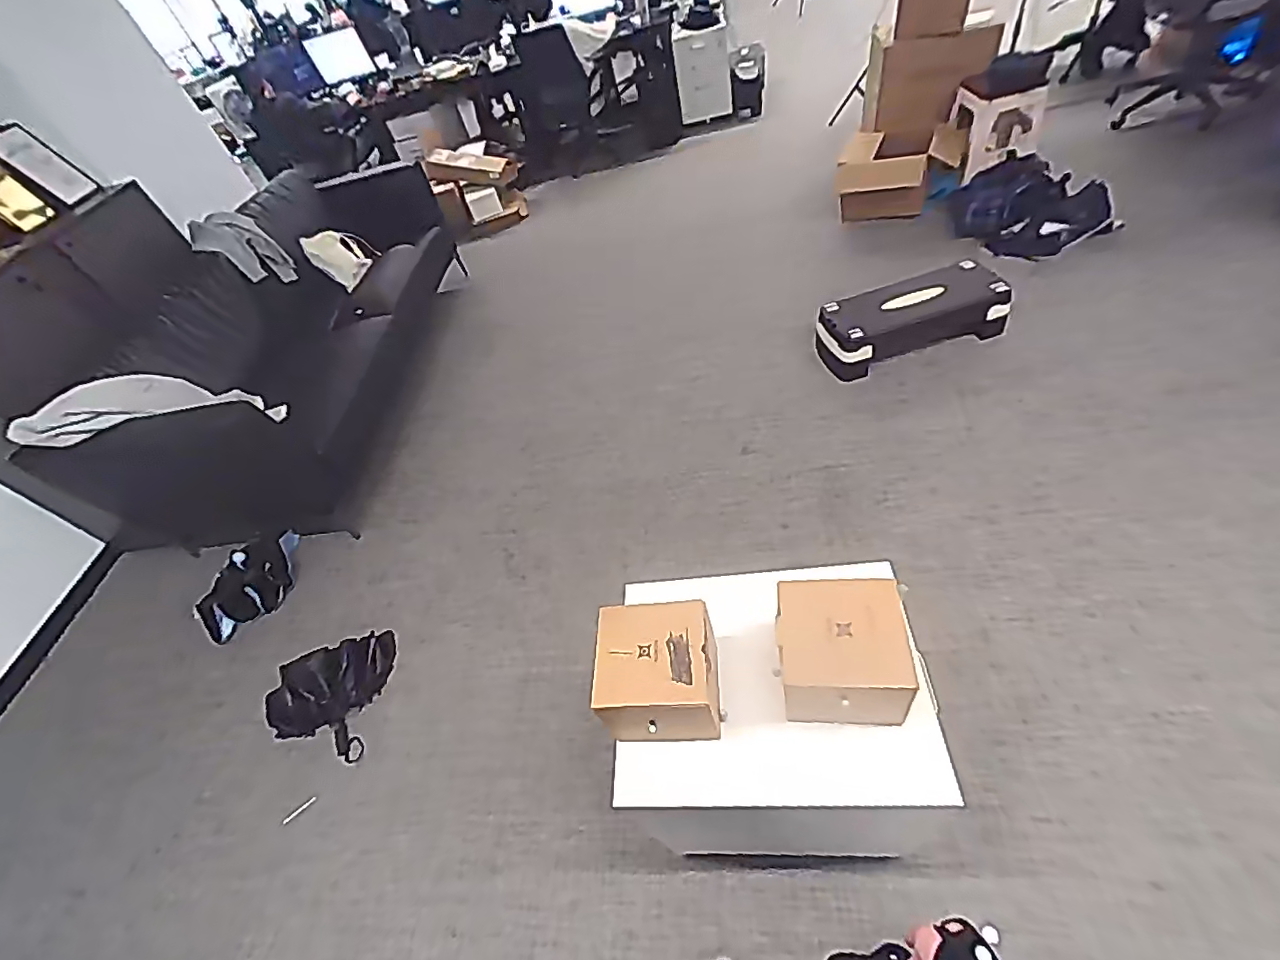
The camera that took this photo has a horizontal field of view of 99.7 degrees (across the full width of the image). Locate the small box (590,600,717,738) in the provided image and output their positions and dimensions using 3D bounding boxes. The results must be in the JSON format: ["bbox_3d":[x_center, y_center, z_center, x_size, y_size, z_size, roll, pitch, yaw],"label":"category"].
[{"bbox_3d":[0.032,0.312,0.884,0.179,0.176,0.168,-7,48,12],"label":"small box"}]

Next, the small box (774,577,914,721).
[{"bbox_3d":[0.307,0.265,0.843,0.179,0.176,0.168,-4,51,14],"label":"small box"}]
